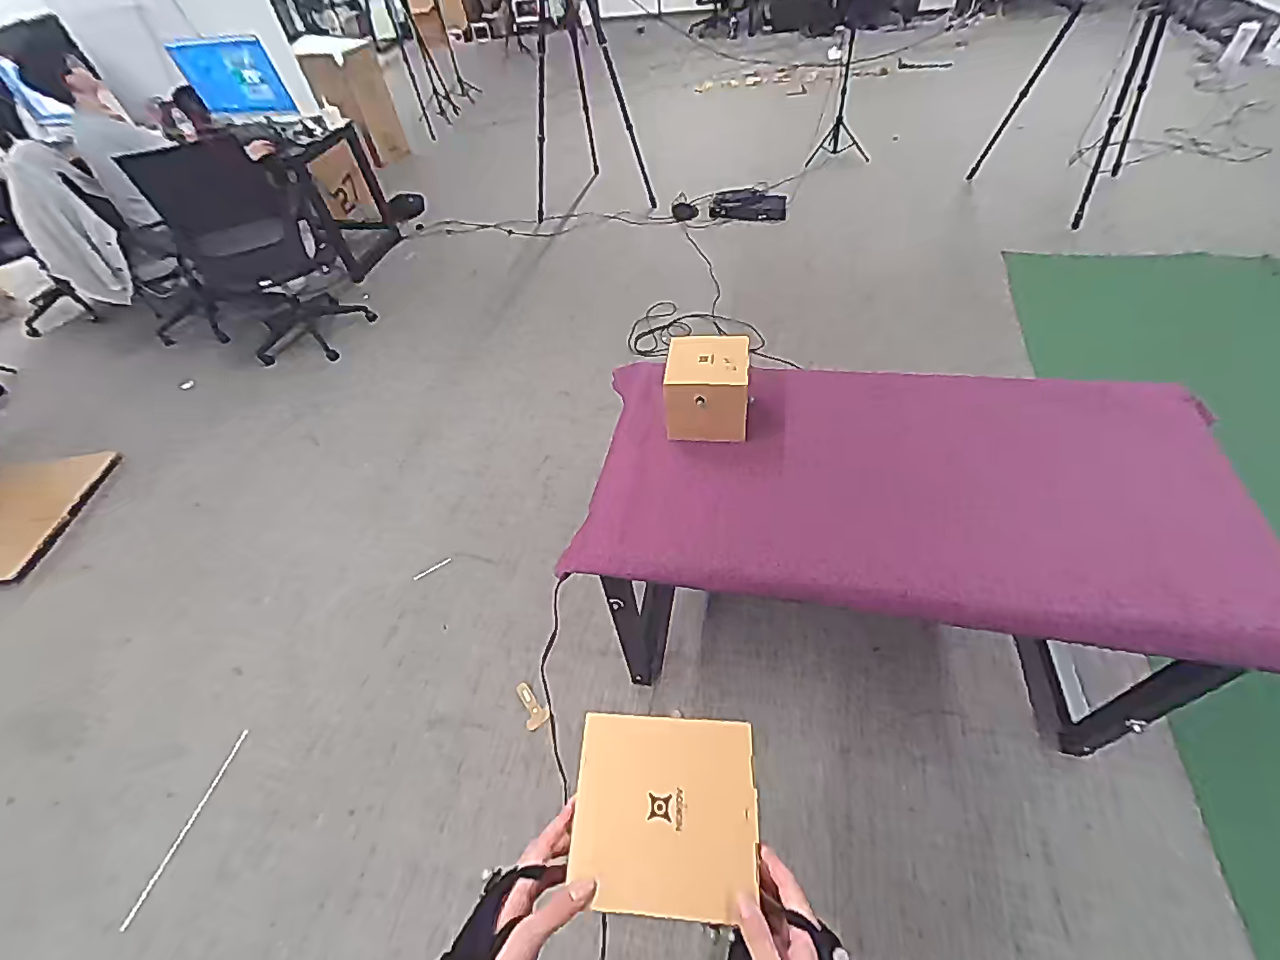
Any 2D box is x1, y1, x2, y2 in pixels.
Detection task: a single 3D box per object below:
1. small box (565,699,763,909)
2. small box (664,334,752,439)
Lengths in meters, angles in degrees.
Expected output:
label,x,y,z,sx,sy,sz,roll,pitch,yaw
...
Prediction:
label,x,y,z,sx,sy,sz,roll,pitch,yaw
small box,0.031,0.347,0.579,0.179,0.176,0.168,2,53,5
small box,0.155,-0.205,1.202,0.179,0.176,0.168,3,51,10
